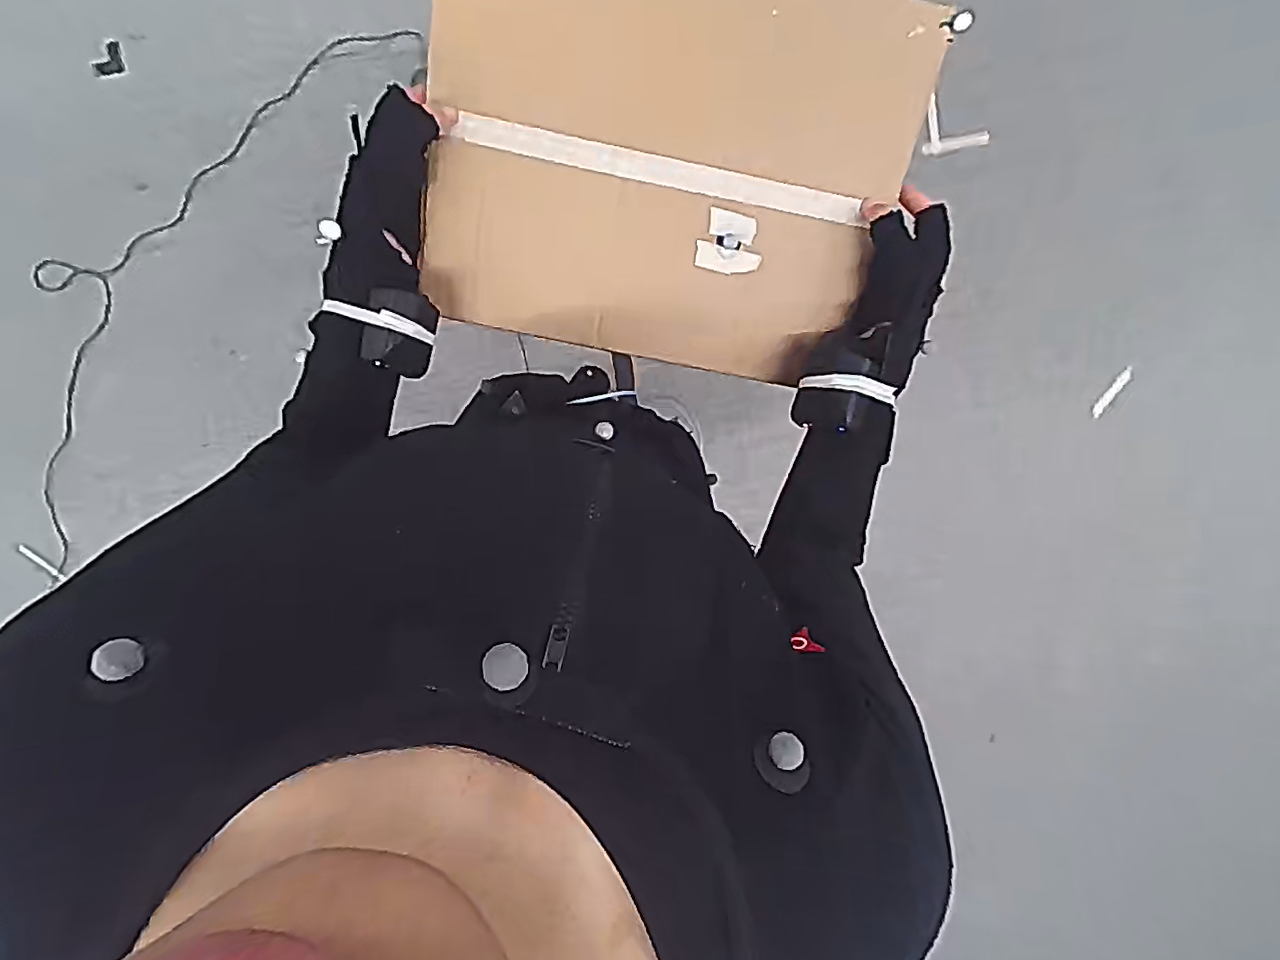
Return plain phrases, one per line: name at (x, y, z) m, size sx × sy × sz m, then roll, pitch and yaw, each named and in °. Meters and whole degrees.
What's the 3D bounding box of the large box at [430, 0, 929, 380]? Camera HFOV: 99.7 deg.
large box at (0.014, -0.317, 0.615) m, size 0.408 × 0.320 × 0.320 m, roll 9°, pitch 110°, yaw -5°
